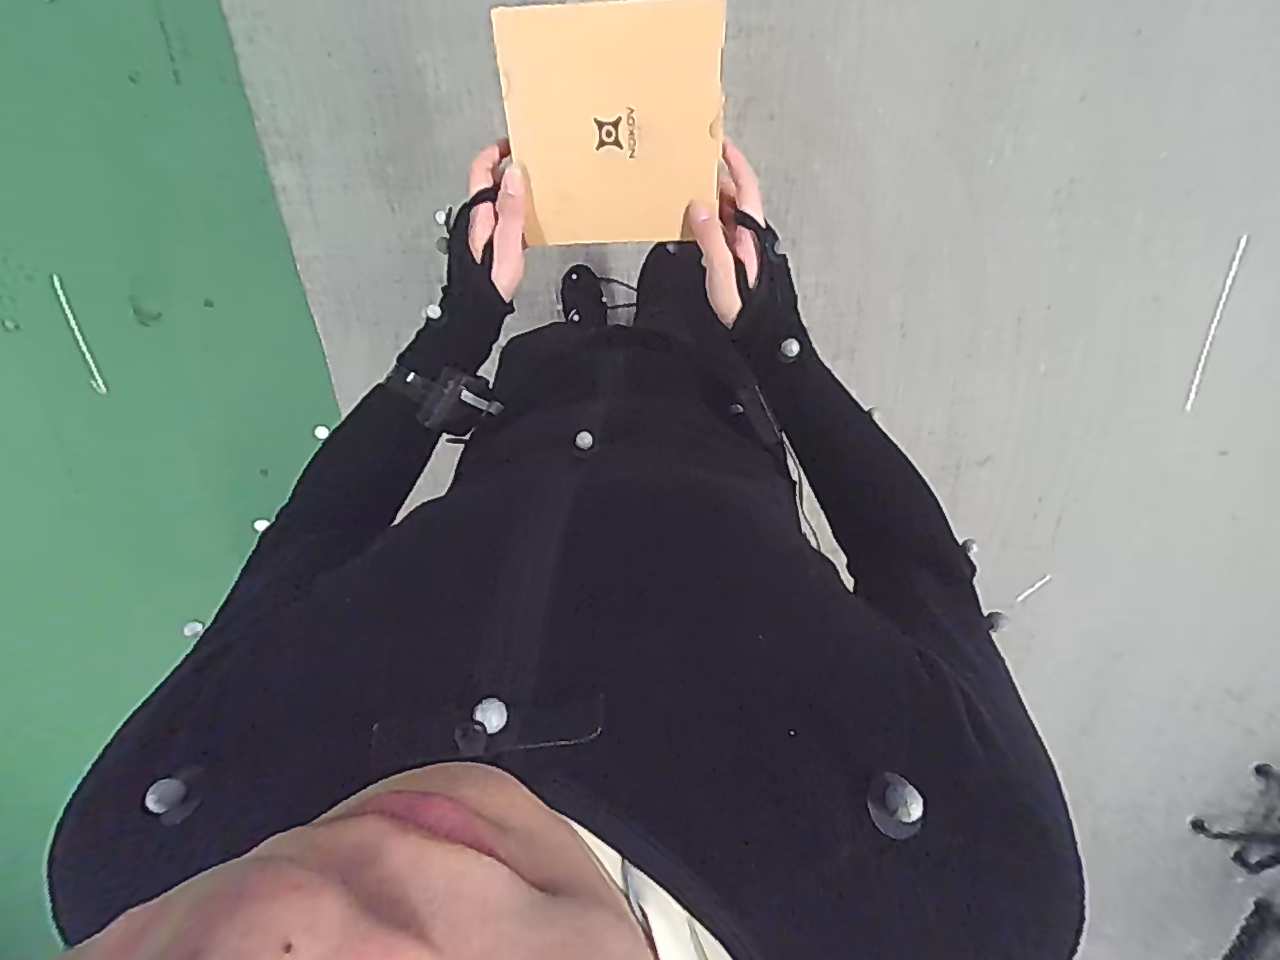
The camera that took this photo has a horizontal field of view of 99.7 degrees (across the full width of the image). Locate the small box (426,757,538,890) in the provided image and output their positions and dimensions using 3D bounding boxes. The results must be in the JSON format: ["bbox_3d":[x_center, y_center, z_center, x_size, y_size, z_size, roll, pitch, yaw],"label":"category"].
[{"bbox_3d":[-0.307,0.687,1.095,0.179,0.176,0.168,-3,114,0],"label":"small box"}]

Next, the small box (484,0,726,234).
[{"bbox_3d":[-0.019,-0.326,0.489,0.179,0.176,0.168,-1,124,3],"label":"small box"}]

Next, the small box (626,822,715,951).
[{"bbox_3d":[0.066,0.888,1.190,0.179,0.176,0.168,-6,114,1],"label":"small box"}]
